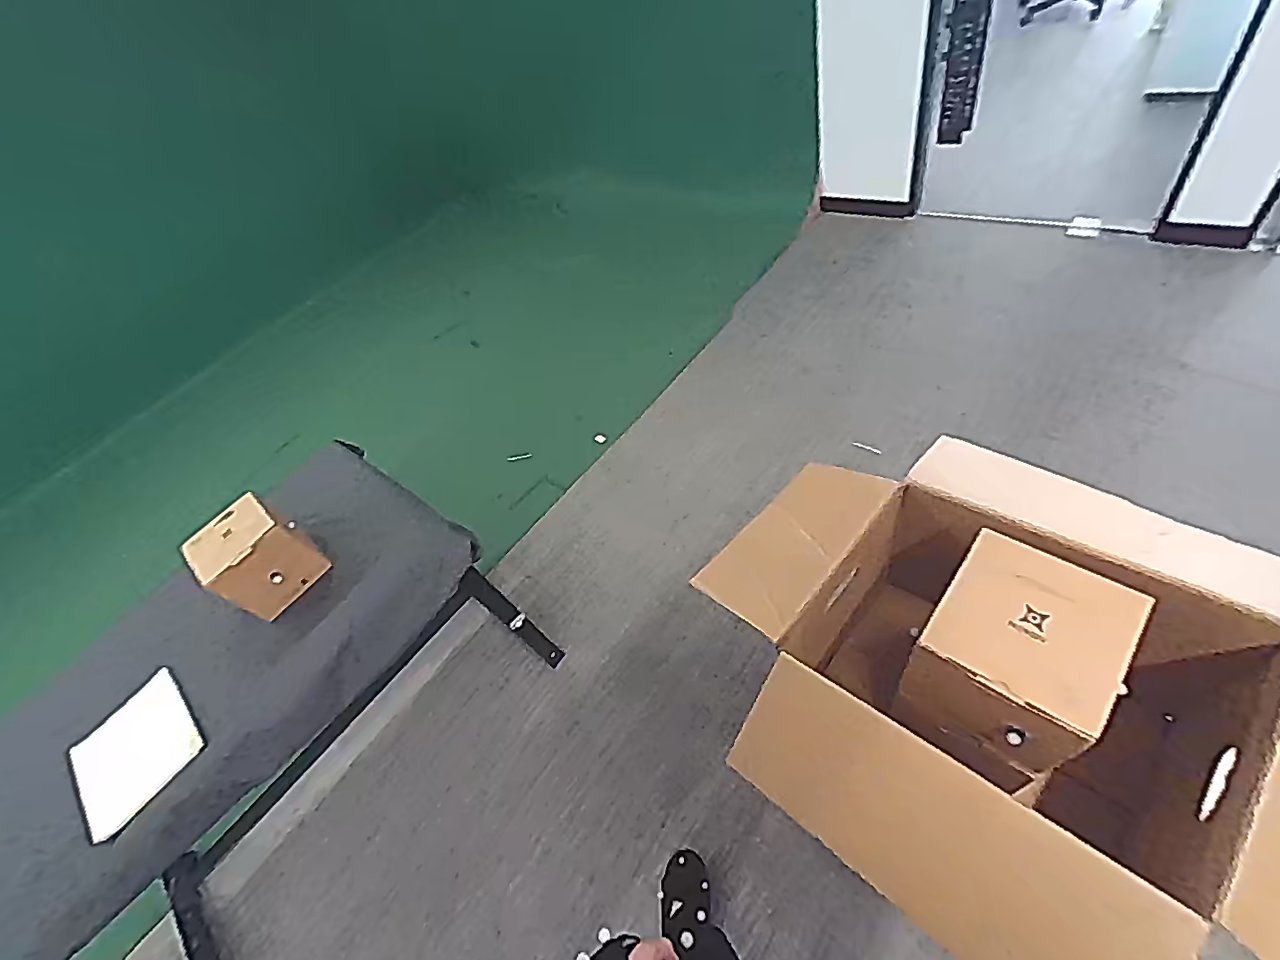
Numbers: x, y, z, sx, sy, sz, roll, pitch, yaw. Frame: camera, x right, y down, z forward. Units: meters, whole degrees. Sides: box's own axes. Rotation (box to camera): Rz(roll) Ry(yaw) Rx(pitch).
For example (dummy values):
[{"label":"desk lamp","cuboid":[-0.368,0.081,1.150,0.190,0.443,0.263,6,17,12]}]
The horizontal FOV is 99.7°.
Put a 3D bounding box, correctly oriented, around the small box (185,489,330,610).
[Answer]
[{"label":"small box","cuboid":[-0.816,0.156,1.168,0.179,0.176,0.168,28,66,33]}]
